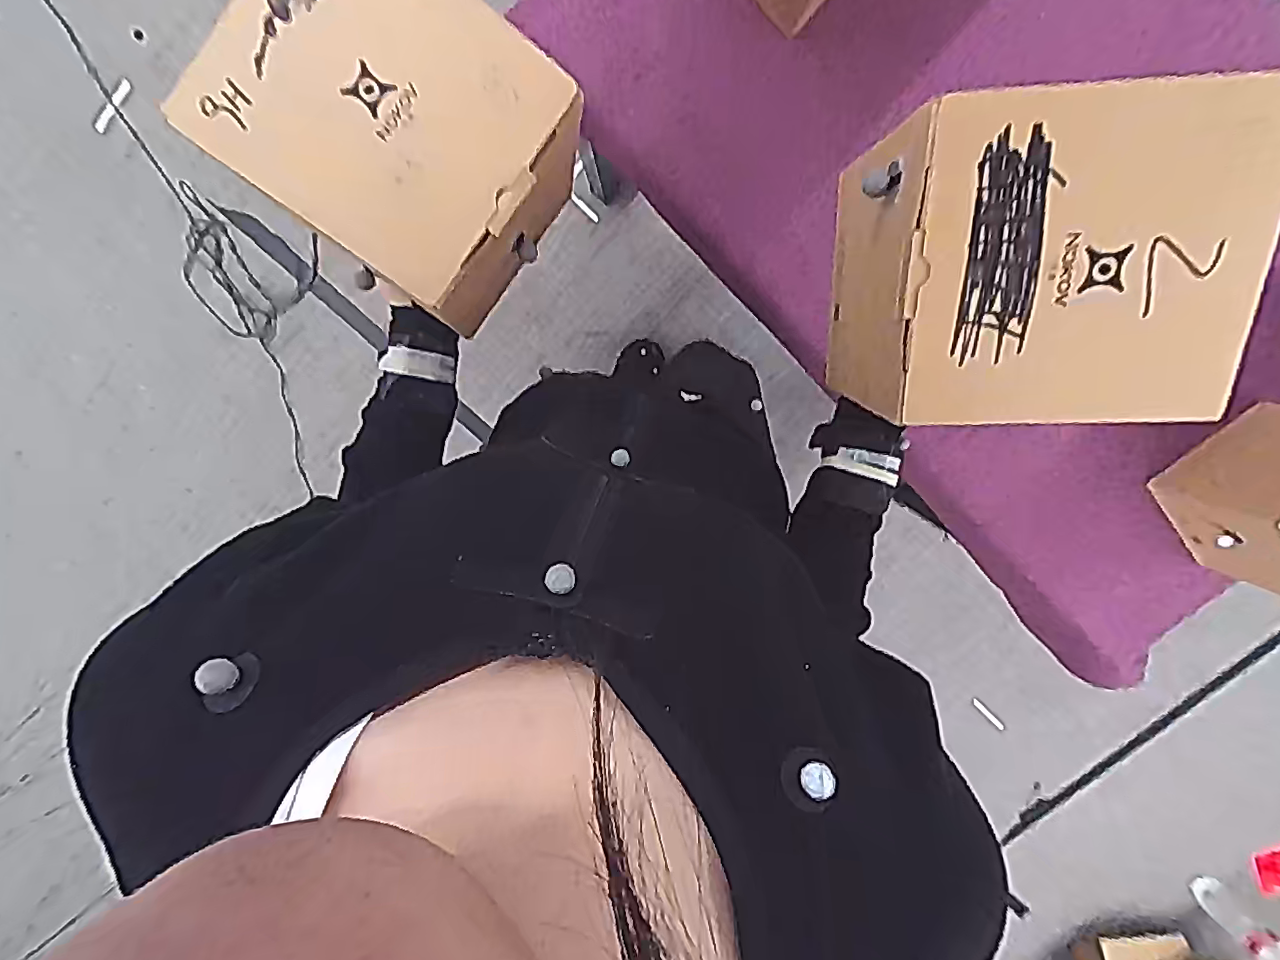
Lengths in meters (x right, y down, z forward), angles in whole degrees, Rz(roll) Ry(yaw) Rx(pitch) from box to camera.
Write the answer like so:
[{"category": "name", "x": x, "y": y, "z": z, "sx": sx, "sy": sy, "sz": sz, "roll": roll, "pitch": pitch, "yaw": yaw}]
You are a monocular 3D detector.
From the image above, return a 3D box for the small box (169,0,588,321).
[{"category": "small box", "x": -0.160, "y": -0.234, "z": 0.392, "sx": 0.179, "sy": 0.176, "sz": 0.168, "roll": 34, "pitch": 91, "yaw": -14}]

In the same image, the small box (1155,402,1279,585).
[{"category": "small box", "x": 0.821, "y": 0.022, "z": 0.686, "sx": 0.179, "sy": 0.176, "sz": 0.168, "roll": -41, "pitch": 102, "yaw": 9}]
